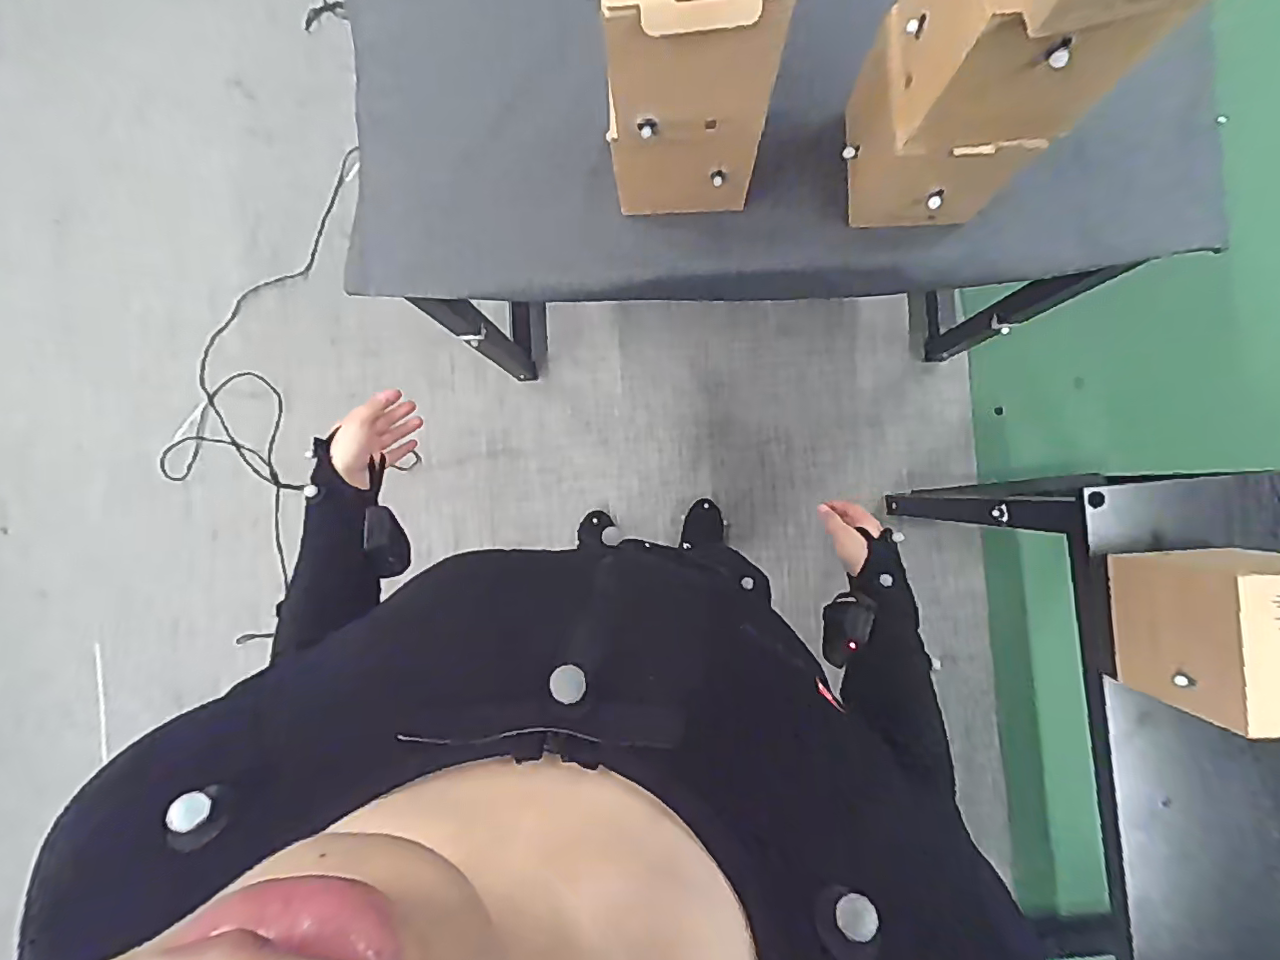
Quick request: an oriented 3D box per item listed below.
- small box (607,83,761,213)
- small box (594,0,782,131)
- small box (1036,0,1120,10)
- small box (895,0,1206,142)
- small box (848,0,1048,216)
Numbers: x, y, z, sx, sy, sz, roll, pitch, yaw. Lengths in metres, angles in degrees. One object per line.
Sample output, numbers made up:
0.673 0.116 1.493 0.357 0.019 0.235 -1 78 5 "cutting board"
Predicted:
0.053 -0.468 0.695 0.179 0.176 0.168 -2 87 4 "small box"
0.043 -0.477 0.532 0.168 0.176 0.179 -5 86 3 "small box"
0.364 -0.453 0.345 0.168 0.176 0.179 -11 87 3 "small box"
0.366 -0.455 0.510 0.179 0.176 0.168 -3 87 4 "small box"
0.367 -0.448 0.673 0.168 0.176 0.179 -1 88 4 "small box"
